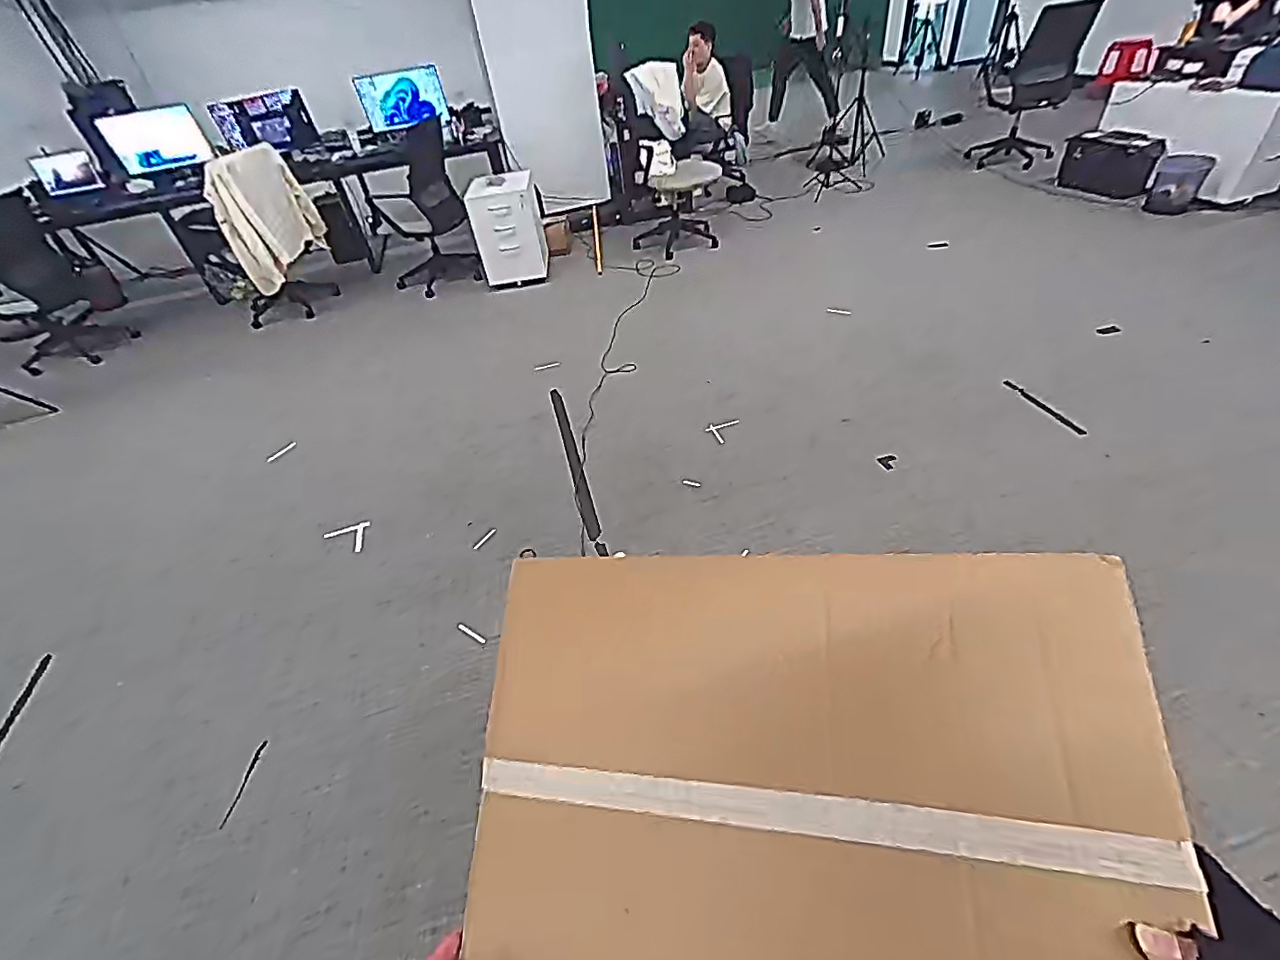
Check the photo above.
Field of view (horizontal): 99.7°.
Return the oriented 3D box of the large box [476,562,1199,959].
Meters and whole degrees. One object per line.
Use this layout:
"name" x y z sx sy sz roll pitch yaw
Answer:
"large box" 0.131 0.259 0.468 0.408 0.320 0.320 -3 69 19
